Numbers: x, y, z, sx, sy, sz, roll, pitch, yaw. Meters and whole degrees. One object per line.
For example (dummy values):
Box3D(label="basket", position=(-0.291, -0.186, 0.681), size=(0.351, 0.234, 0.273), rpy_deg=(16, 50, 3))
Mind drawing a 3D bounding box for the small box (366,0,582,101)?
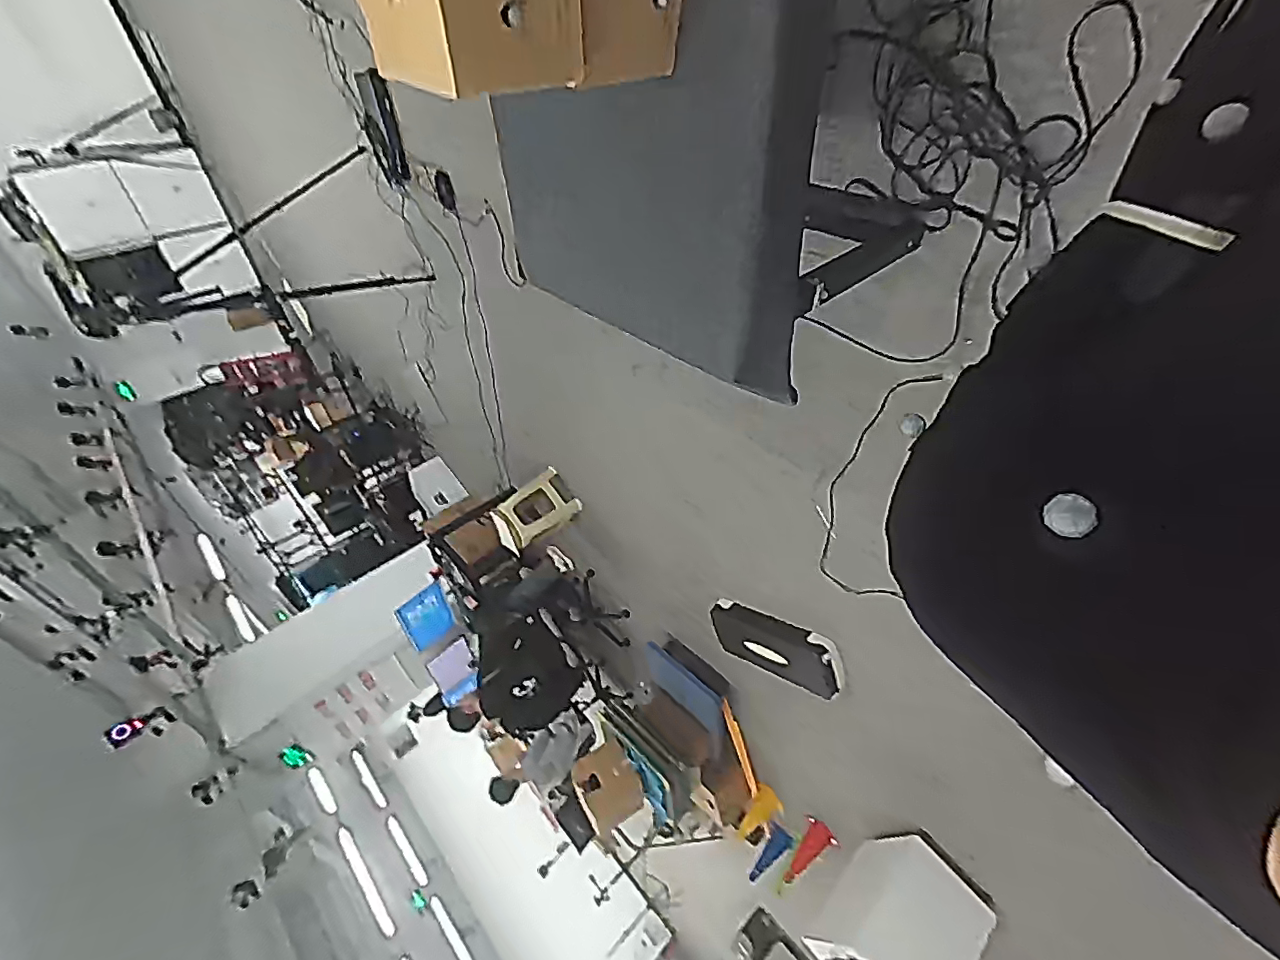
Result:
Box3D(label="small box", position=(-0.171, -0.514, 0.556), size=(0.179, 0.176, 0.168), rpy_deg=(37, 146, 31))
